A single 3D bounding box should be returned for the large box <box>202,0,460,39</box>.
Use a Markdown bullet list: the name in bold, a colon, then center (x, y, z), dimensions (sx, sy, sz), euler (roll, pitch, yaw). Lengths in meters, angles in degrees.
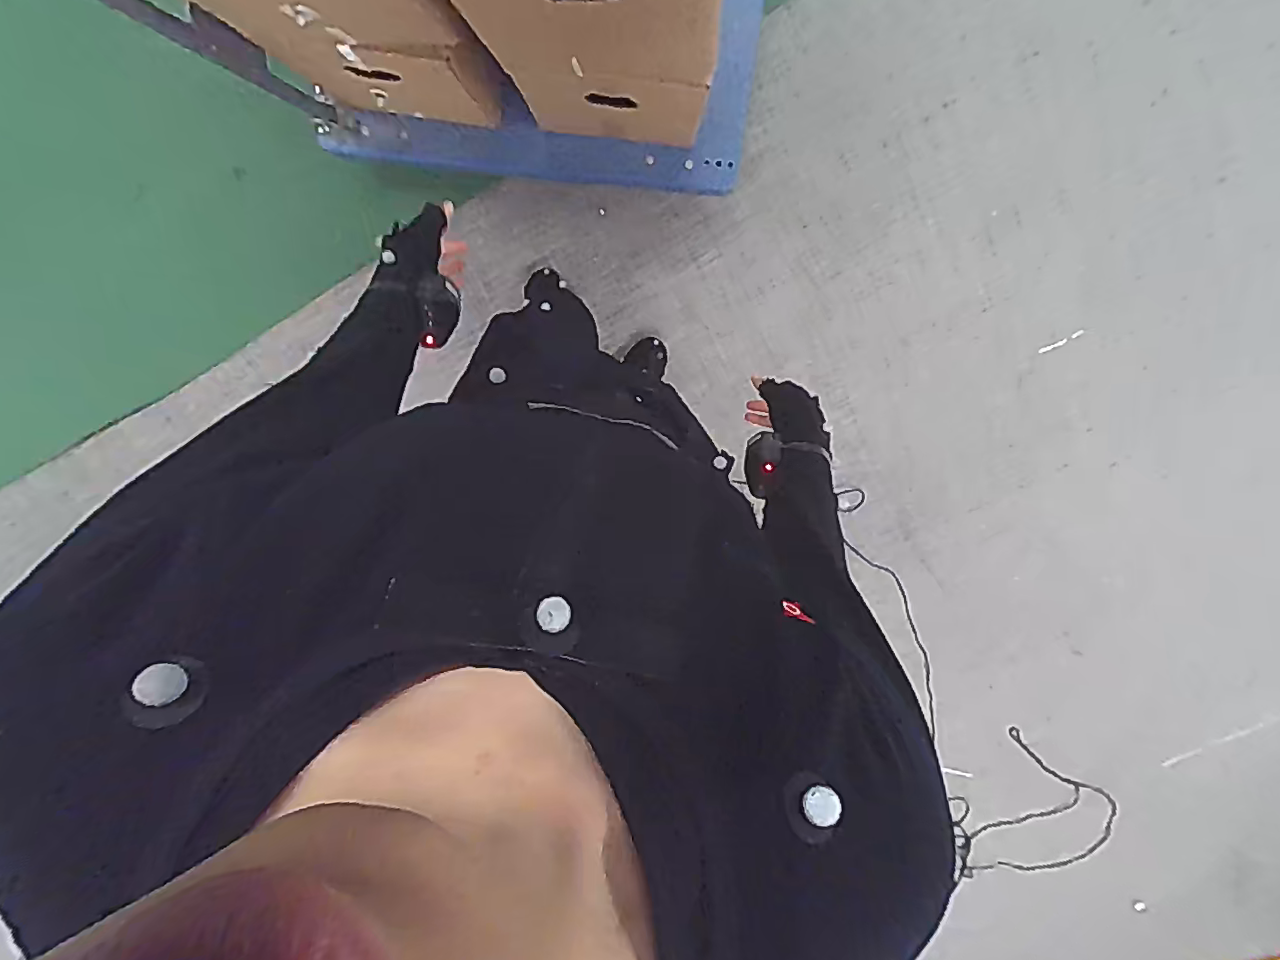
- **large box**: center (-0.404, -0.772, 0.569), dimensions (0.320, 0.320, 0.408), euler (4, 107, 3)
